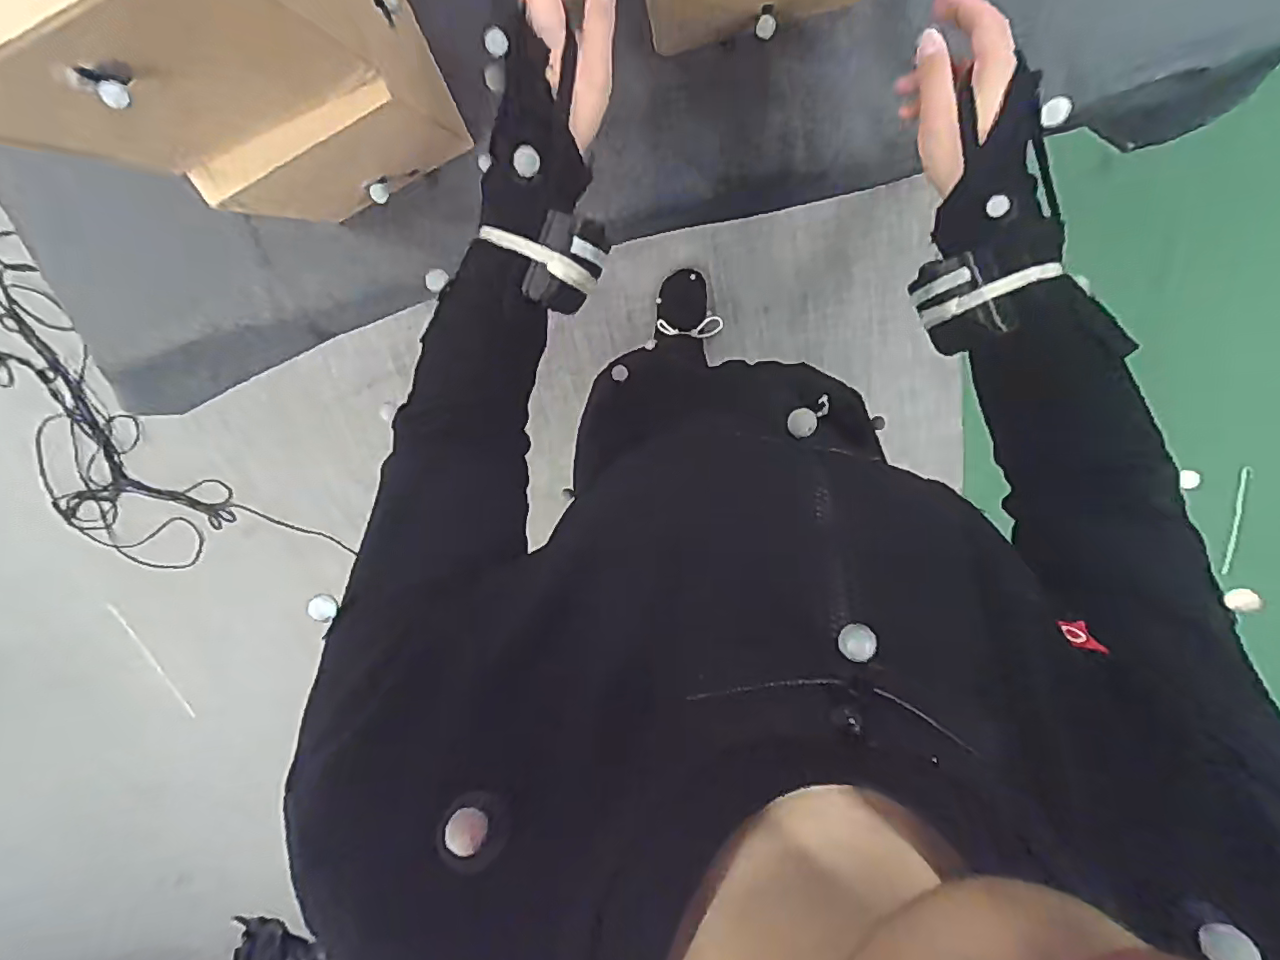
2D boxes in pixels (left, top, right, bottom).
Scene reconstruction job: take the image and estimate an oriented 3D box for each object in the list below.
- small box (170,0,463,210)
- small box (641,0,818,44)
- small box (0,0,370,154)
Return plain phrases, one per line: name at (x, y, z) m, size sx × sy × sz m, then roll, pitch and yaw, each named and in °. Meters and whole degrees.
small box at (-0.270, -0.333, 0.418) m, size 0.168 × 0.176 × 0.179 m, roll -21°, pitch 111°, yaw 11°
small box at (0.075, -0.433, 0.358) m, size 0.179 × 0.176 × 0.168 m, roll -11°, pitch 112°, yaw 7°
small box at (-0.278, -0.285, 0.262) m, size 0.179 × 0.176 × 0.168 m, roll -17°, pitch 112°, yaw 9°
